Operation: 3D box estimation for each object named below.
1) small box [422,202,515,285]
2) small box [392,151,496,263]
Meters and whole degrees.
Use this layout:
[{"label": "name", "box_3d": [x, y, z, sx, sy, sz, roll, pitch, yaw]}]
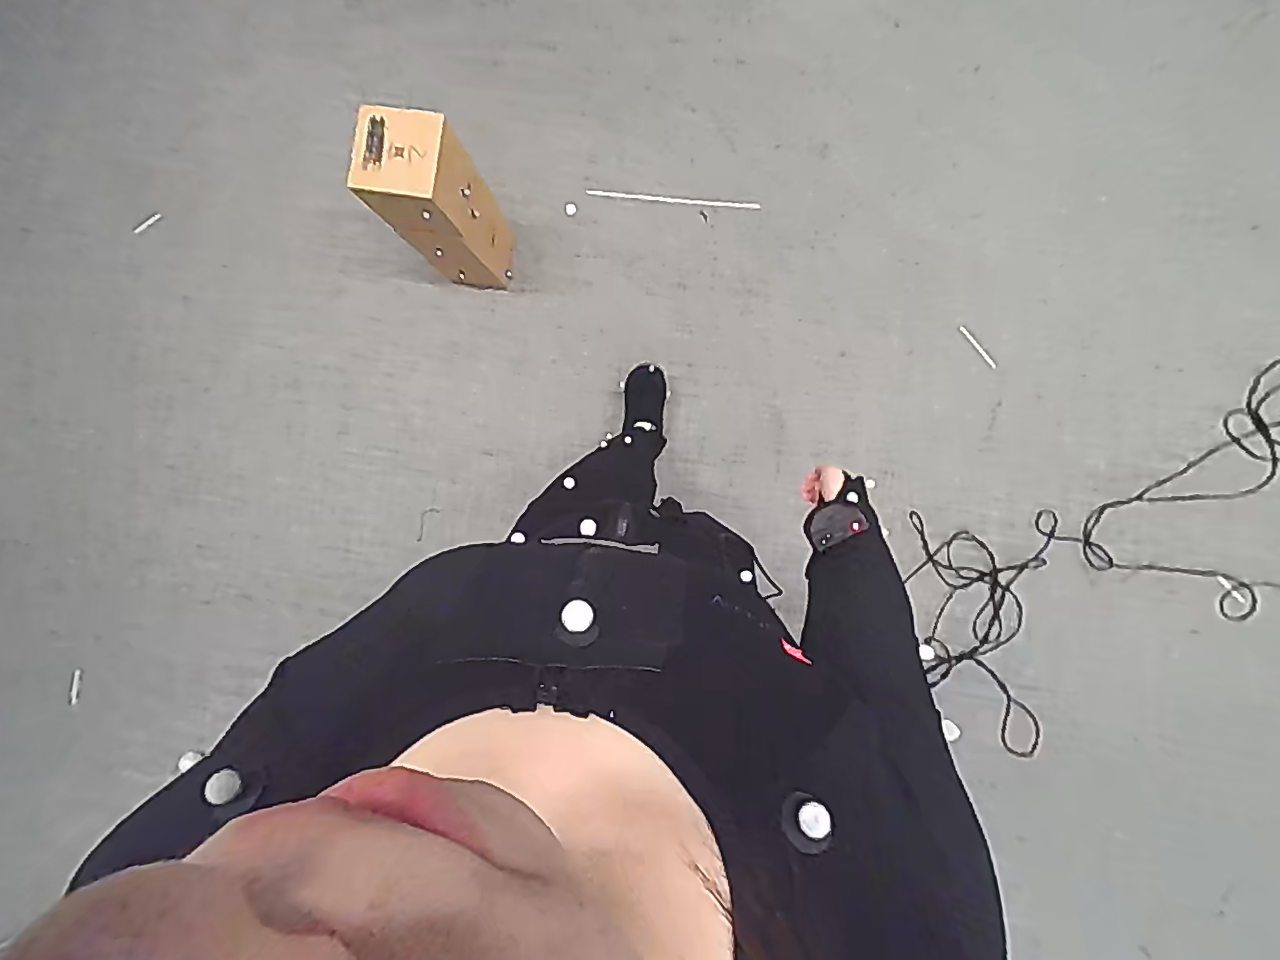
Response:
[{"label": "small box", "box_3d": [-0.450, -0.636, 1.444, 0.179, 0.176, 0.168, 9, 91, 5]}, {"label": "small box", "box_3d": [-0.456, -0.635, 1.280, 0.168, 0.176, 0.179, 10, 91, 4]}]
